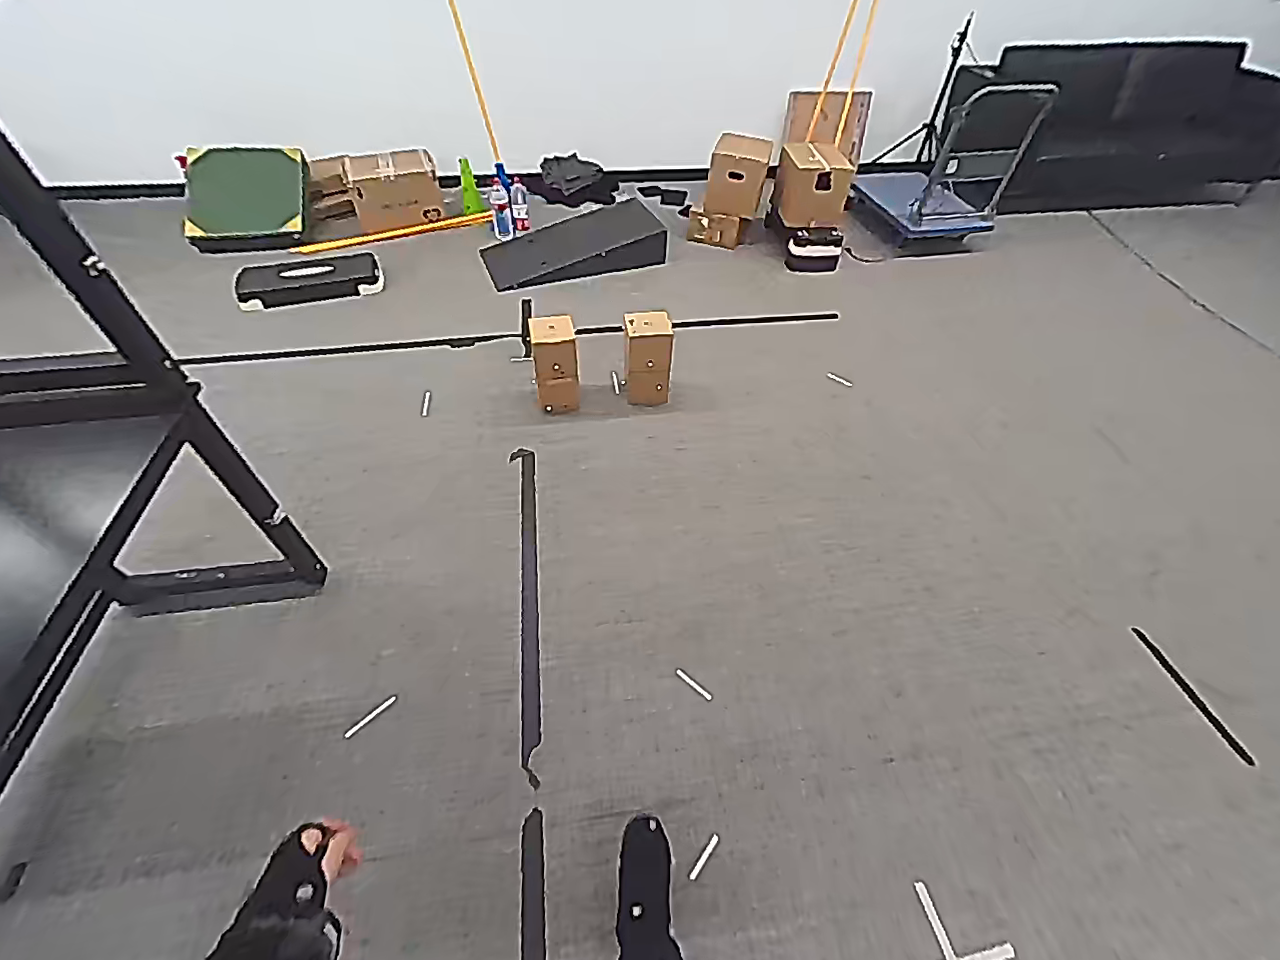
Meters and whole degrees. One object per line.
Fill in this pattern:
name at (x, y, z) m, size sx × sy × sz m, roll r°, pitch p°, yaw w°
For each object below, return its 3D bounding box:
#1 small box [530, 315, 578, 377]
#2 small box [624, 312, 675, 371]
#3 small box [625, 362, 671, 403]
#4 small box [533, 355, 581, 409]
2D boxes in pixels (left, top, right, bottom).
small box at (-0.335, -0.525, 2.115) m, size 0.168 × 0.176 × 0.179 m, roll -7°, pitch 49°, yaw -9°
small box at (0.034, -0.553, 2.163) m, size 0.179 × 0.176 × 0.168 m, roll -4°, pitch 47°, yaw -7°
small box at (0.029, -0.441, 2.283) m, size 0.179 × 0.176 × 0.168 m, roll -3°, pitch 48°, yaw -5°
small box at (-0.341, -0.408, 2.231) m, size 0.168 × 0.176 × 0.179 m, roll -9°, pitch 48°, yaw -11°
